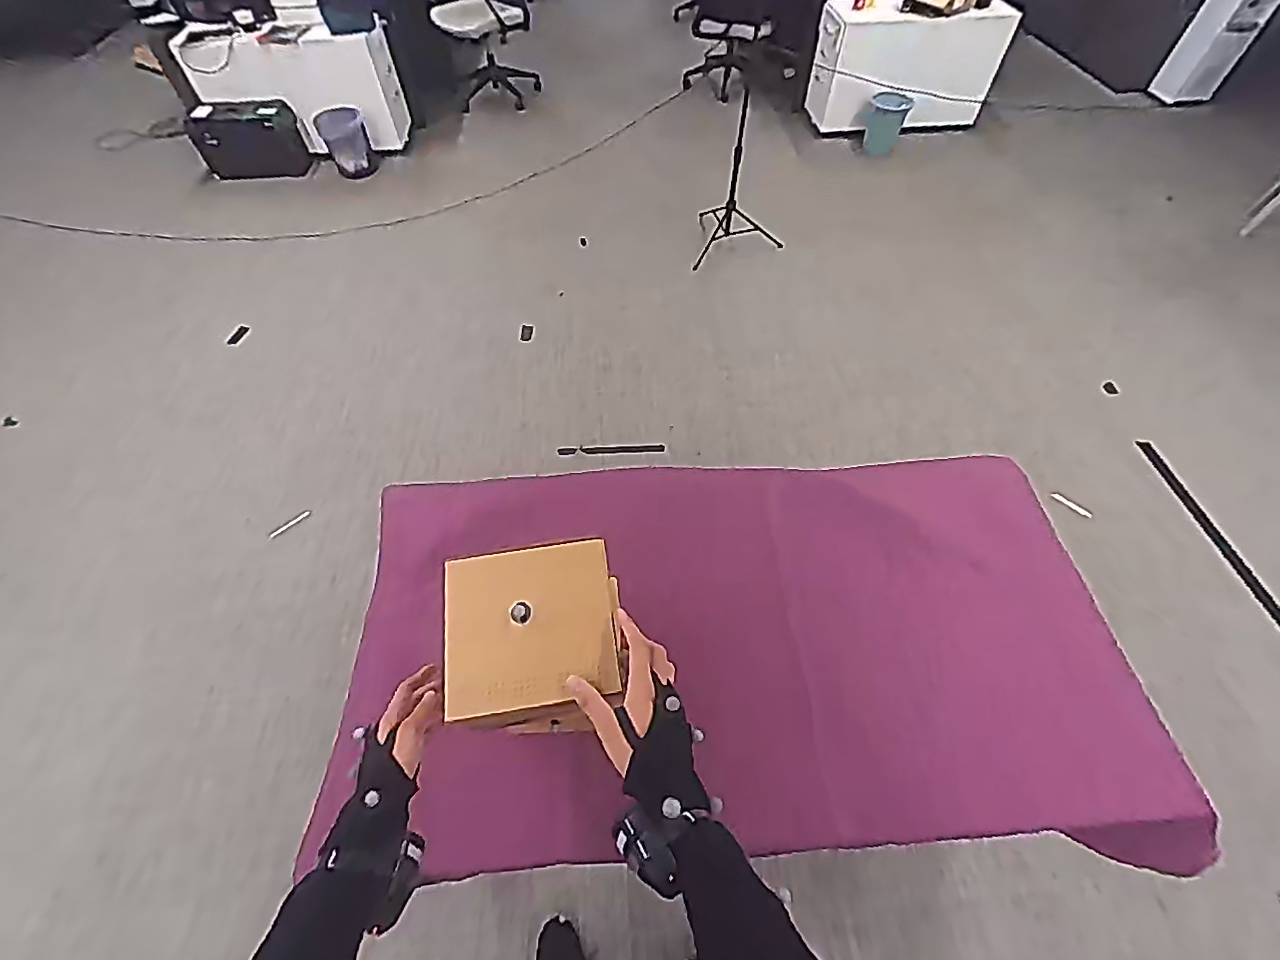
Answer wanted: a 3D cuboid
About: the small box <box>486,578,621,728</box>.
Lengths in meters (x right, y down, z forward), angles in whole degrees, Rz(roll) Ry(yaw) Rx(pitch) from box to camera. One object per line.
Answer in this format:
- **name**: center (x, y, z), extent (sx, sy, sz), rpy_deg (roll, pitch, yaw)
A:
- **small box**: center (-0.113, 0.257, 0.789), extent (0.168, 0.176, 0.179), rpy_deg (-1, 55, -1)
